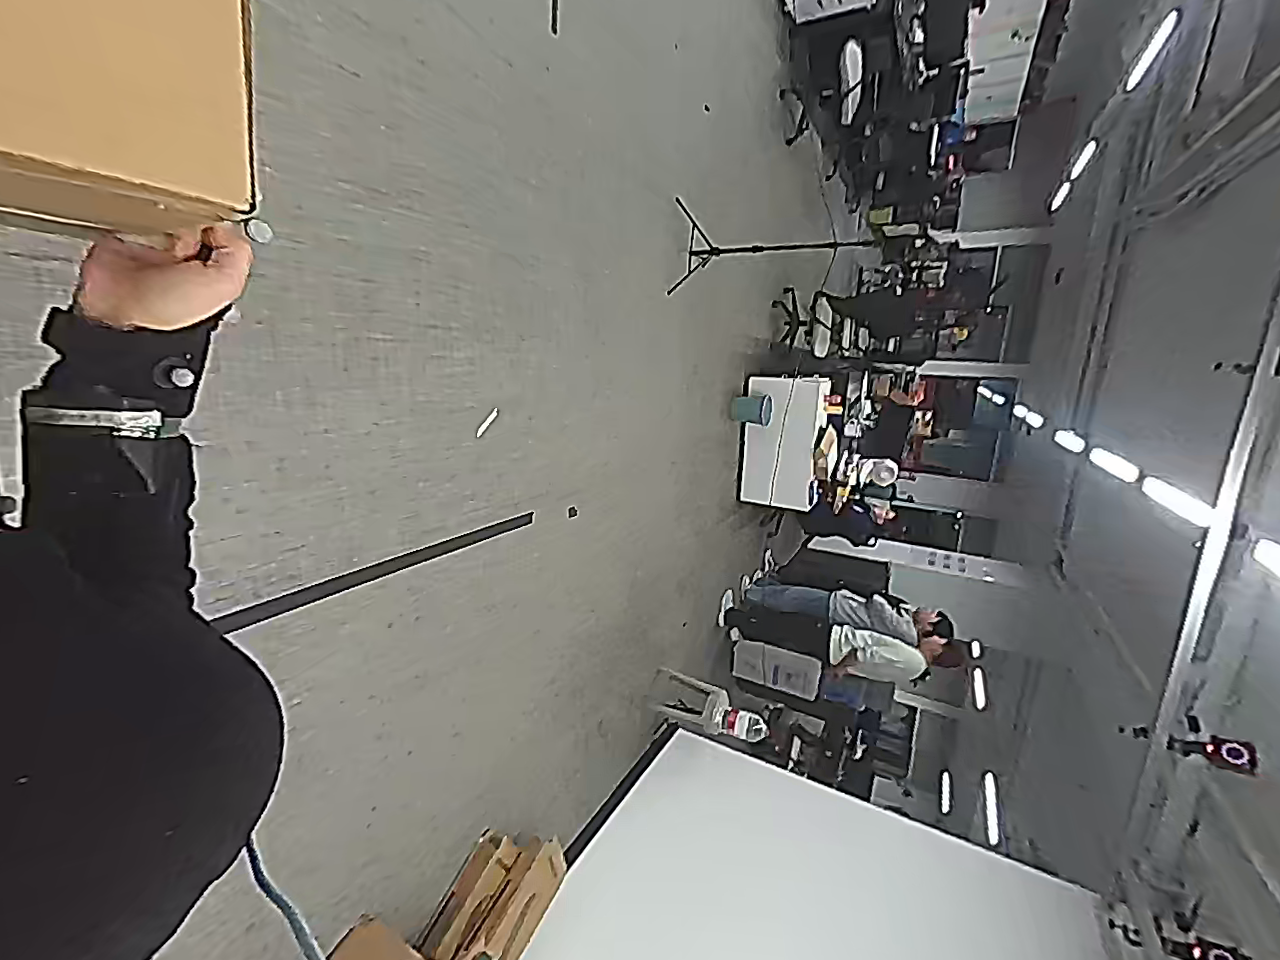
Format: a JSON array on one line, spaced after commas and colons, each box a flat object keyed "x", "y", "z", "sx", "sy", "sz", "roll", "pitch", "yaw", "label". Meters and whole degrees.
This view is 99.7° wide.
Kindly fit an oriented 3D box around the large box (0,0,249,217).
[{"x": -0.407, "y": -0.294, "z": 0.146, "sx": 0.408, "sy": 0.320, "sz": 0.320, "roll": -13, "pitch": 114, "yaw": -53, "label": "large box"}]
